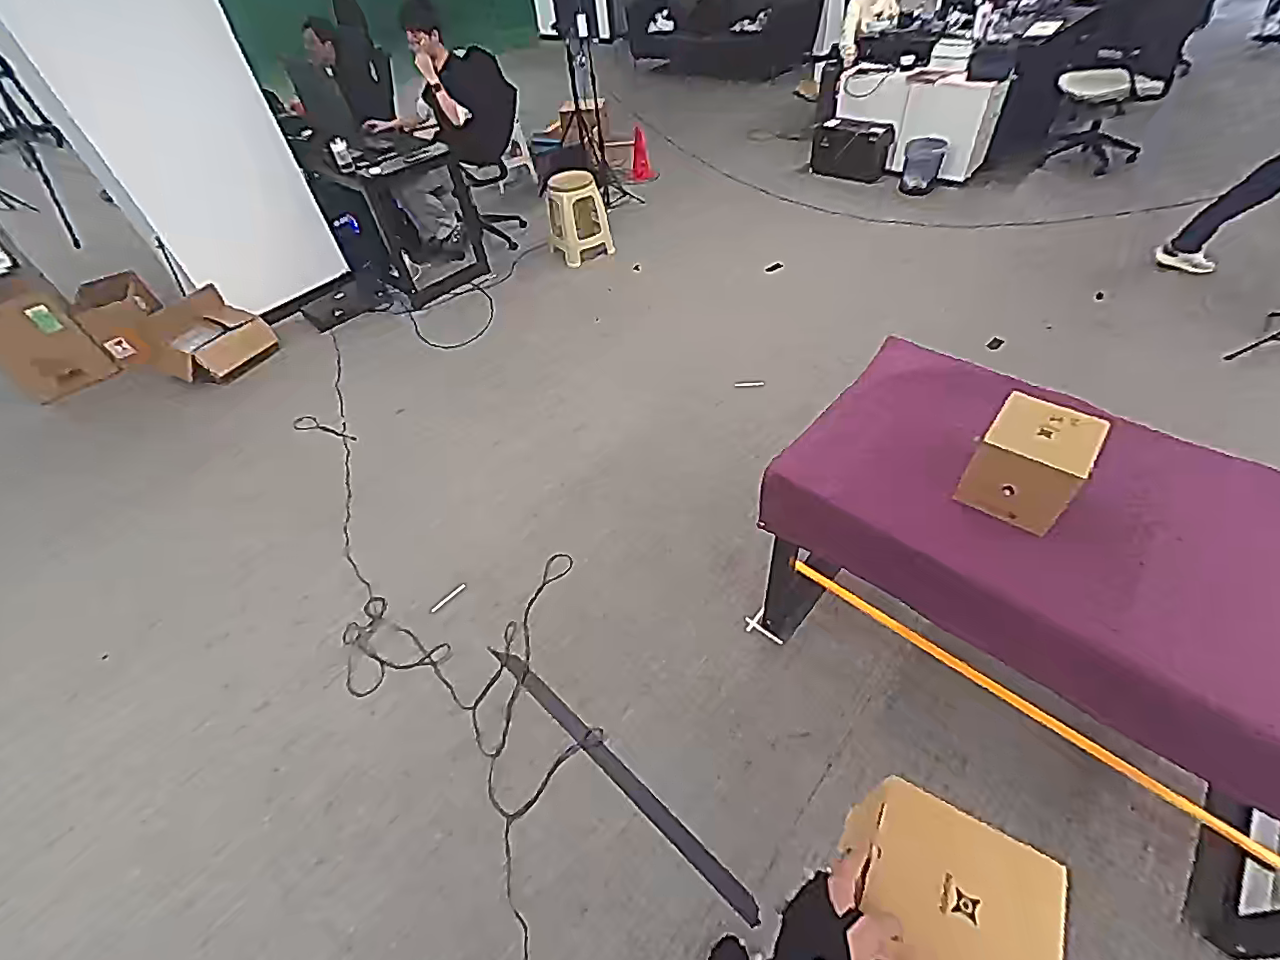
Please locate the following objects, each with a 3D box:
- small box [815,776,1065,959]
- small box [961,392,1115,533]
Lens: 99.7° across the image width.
[{"bbox_3d":[0.310,0.461,0.582,0.179,0.176,0.168,22,52,21],"label":"small box"},{"bbox_3d":[0.746,-0.031,1.031,0.168,0.176,0.179,31,58,29],"label":"small box"}]
